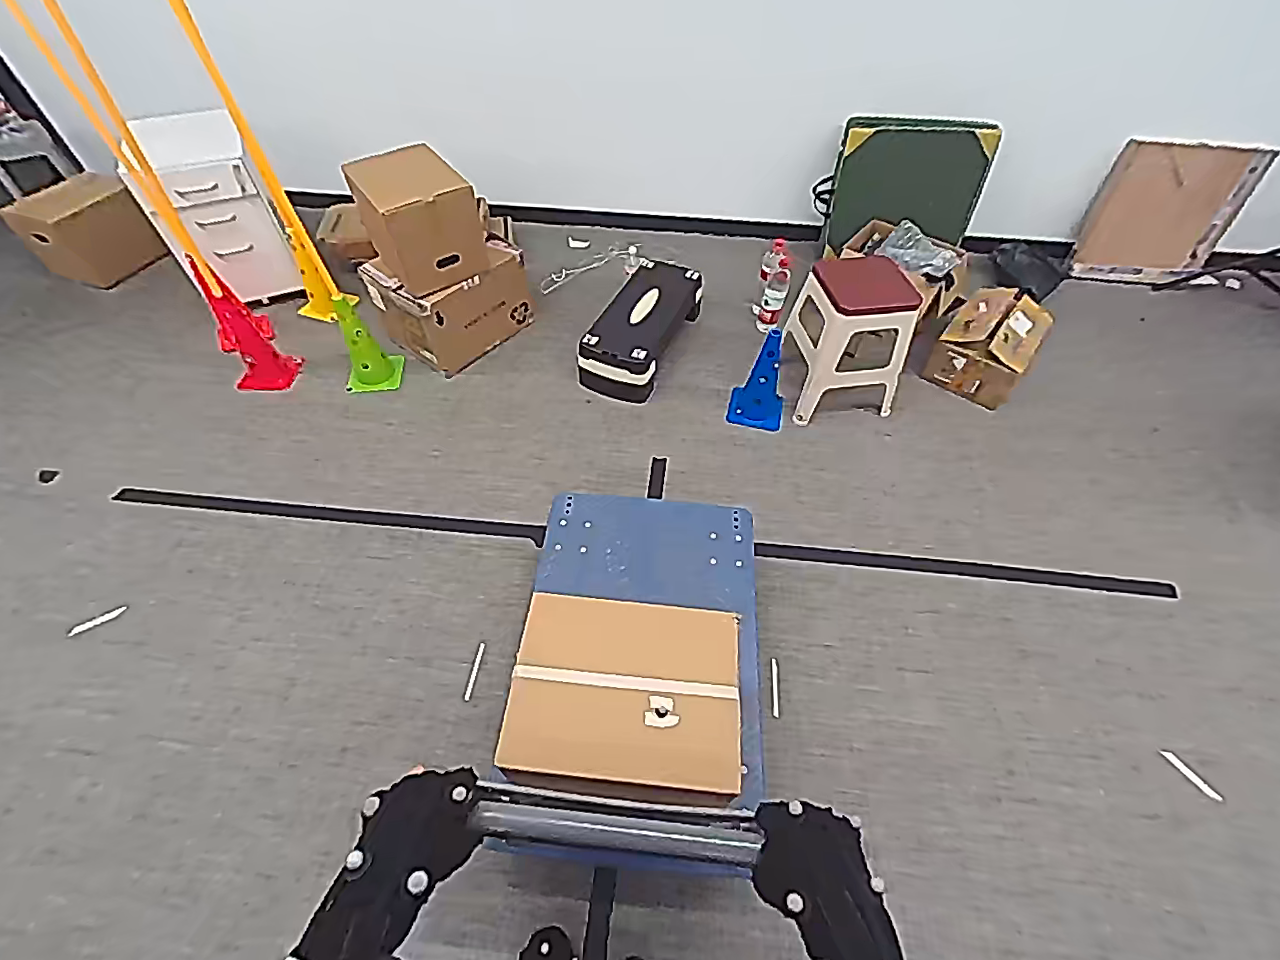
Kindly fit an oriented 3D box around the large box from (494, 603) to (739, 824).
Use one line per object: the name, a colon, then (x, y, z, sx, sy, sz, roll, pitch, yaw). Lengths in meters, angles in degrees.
large box: (-0.036, 0.468, 1.072, 0.408, 0.320, 0.320, 6, 52, 1)
